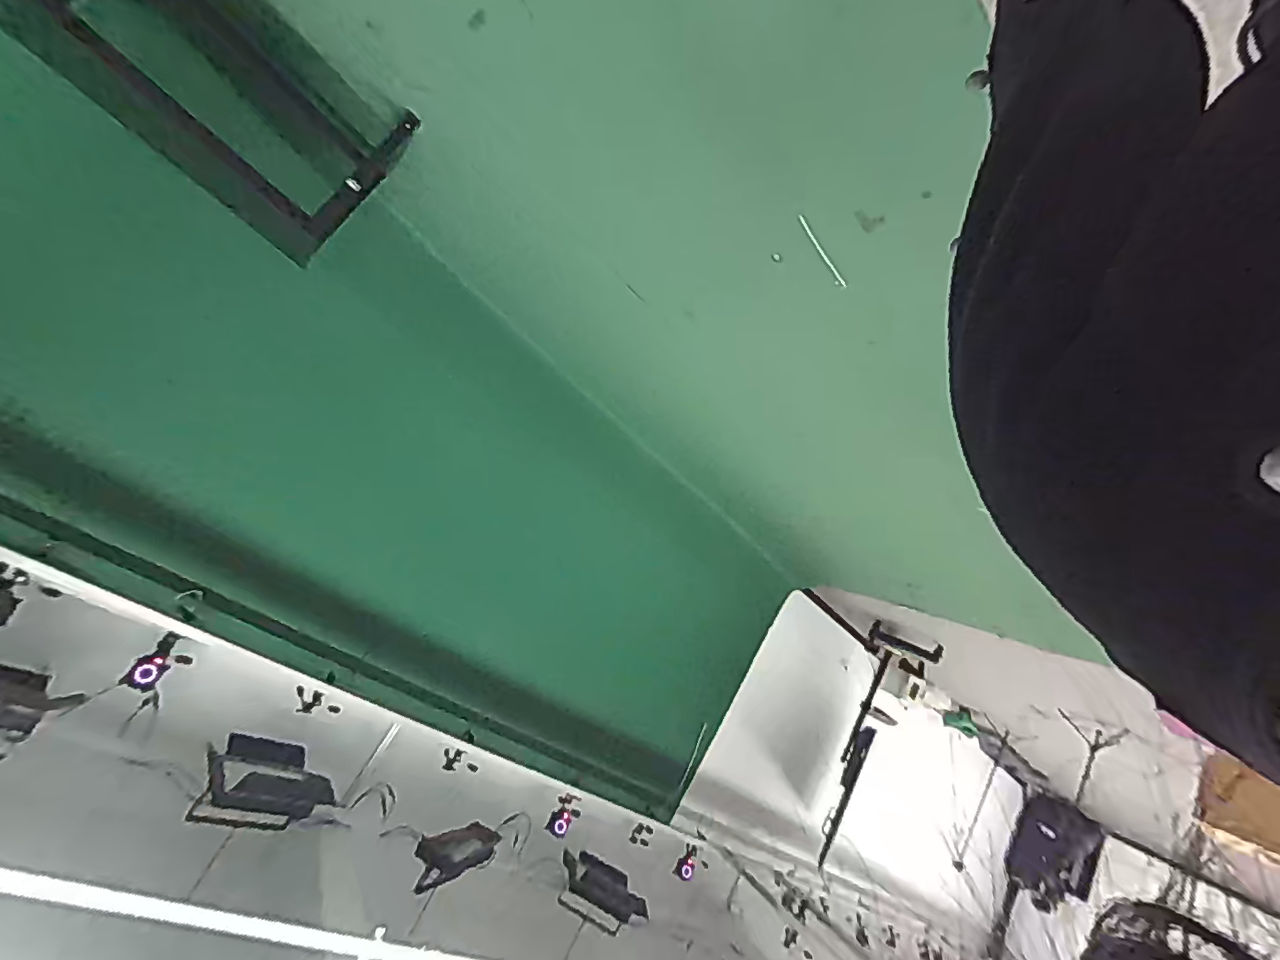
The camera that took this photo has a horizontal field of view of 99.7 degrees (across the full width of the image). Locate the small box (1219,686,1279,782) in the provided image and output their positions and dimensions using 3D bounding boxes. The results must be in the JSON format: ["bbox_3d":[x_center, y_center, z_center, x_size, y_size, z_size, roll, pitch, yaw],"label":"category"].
[{"bbox_3d":[1.580,0.641,1.344,0.179,0.176,0.168,40,163,-31],"label":"small box"}]
